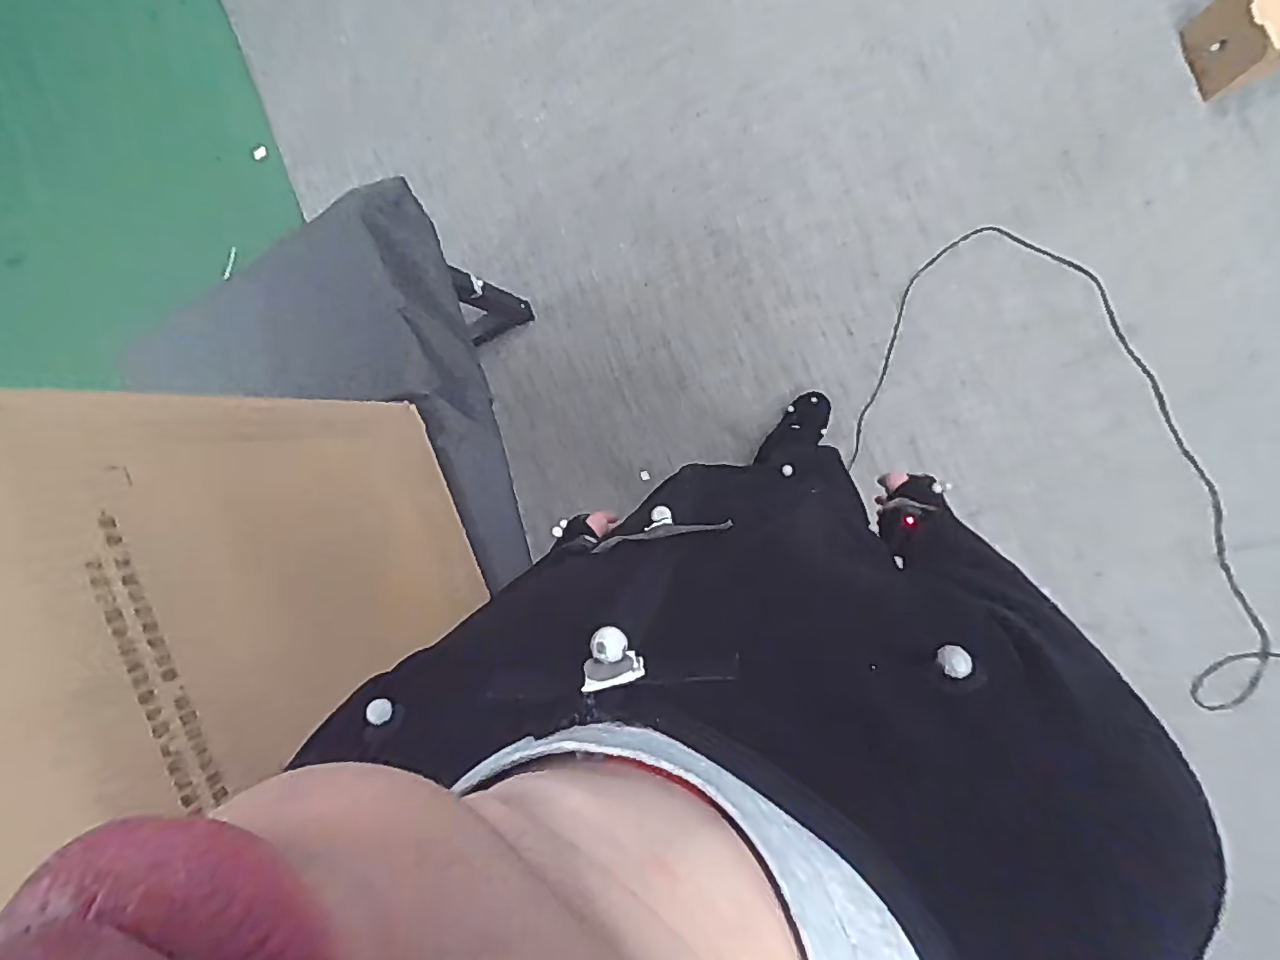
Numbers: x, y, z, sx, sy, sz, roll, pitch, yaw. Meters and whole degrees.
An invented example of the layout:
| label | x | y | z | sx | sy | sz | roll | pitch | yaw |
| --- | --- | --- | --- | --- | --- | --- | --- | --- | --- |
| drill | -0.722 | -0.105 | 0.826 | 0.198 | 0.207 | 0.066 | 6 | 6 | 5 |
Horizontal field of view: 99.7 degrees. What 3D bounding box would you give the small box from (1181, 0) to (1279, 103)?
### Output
| label | x | y | z | sx | sy | sz | roll | pitch | yaw |
| --- | --- | --- | --- | --- | --- | --- | --- | --- | --- |
| small box | 1.264 | -0.922 | 1.097 | 0.179 | 0.176 | 0.168 | -21 | 90 | 16 |
